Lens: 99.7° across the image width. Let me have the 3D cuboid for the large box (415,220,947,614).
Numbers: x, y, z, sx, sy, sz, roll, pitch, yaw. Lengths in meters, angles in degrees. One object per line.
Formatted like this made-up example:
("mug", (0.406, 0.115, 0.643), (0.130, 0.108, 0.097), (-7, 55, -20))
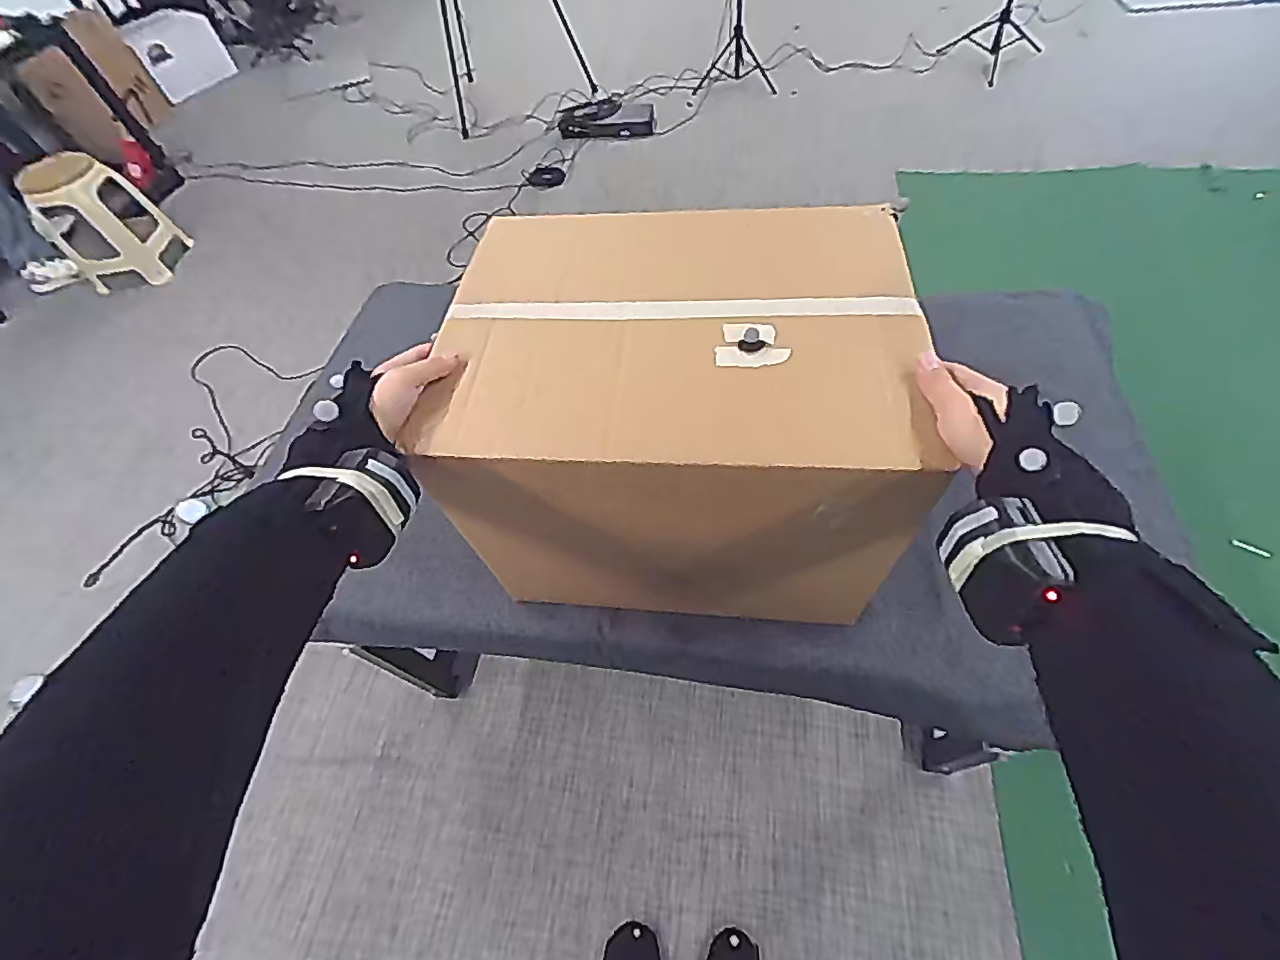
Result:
("large box", (0.042, -0.057, 0.603), (0.408, 0.320, 0.320), (2, 57, 7))
